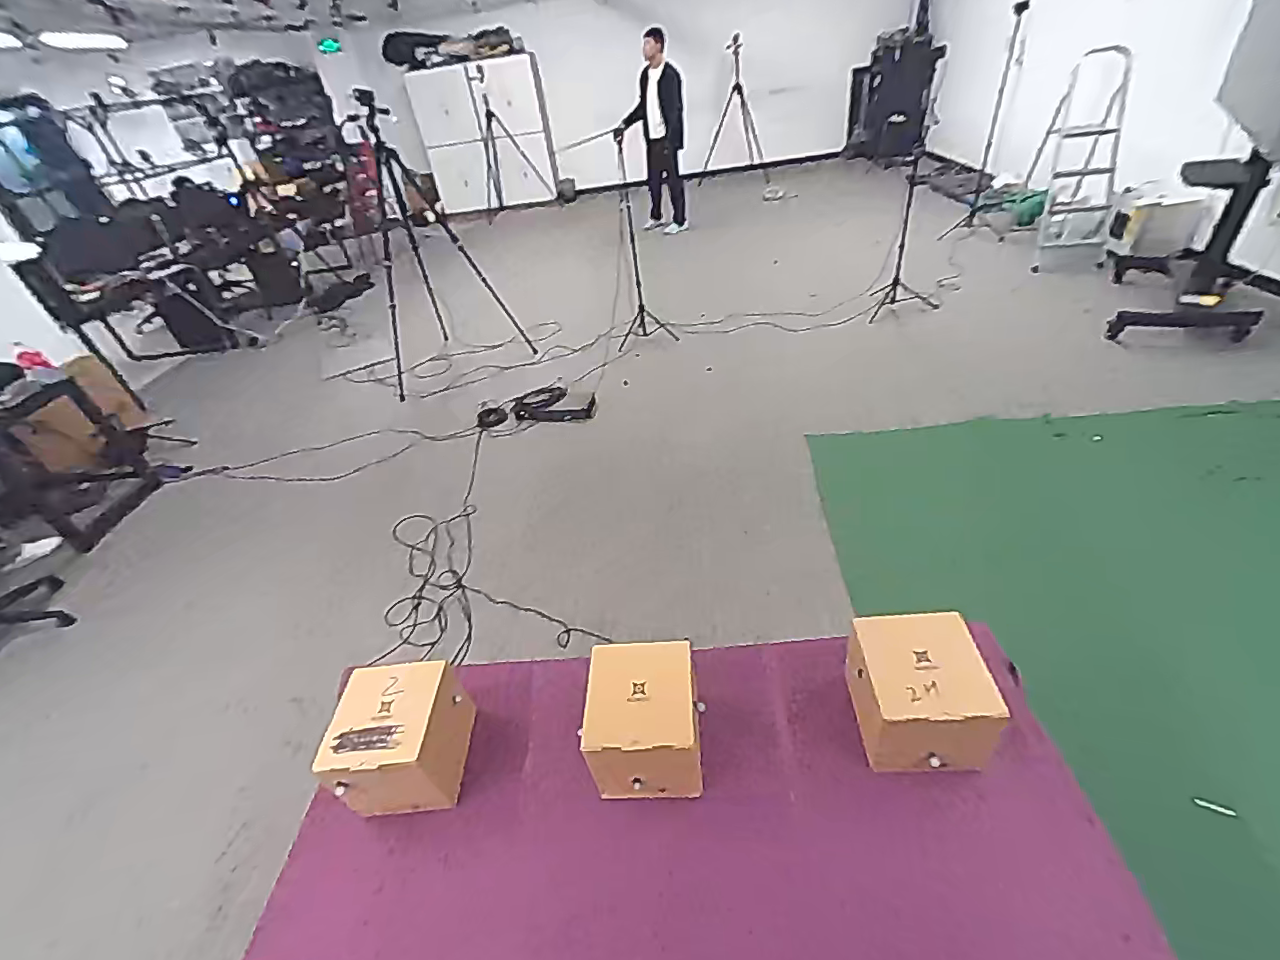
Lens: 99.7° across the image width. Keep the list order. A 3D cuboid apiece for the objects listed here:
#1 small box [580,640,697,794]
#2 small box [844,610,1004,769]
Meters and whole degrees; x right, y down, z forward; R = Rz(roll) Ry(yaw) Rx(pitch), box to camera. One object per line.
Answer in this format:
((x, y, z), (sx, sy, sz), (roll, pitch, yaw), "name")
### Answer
((0.005, 0.384, 0.881), (0.168, 0.176, 0.179), (-4, 40, 5), "small box")
((0.429, 0.331, 0.856), (0.168, 0.176, 0.179), (-6, 39, 8), "small box")
